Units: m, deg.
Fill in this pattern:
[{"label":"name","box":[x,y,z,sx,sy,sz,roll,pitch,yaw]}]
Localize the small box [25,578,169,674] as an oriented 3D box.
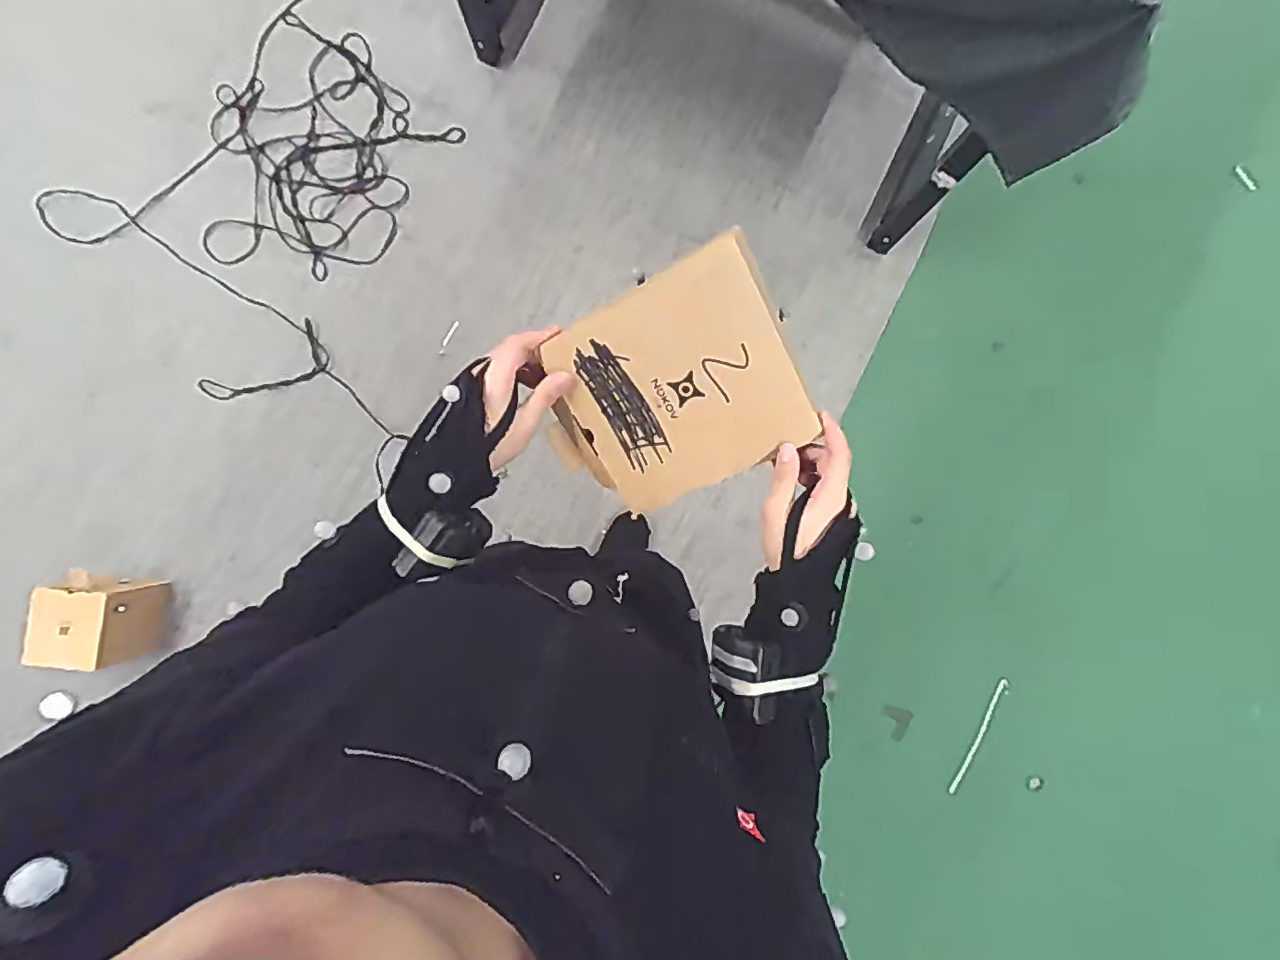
[{"label":"small box","box":[-1.264,0.337,1.272,0.168,0.176,0.179,6,87,0]}]
